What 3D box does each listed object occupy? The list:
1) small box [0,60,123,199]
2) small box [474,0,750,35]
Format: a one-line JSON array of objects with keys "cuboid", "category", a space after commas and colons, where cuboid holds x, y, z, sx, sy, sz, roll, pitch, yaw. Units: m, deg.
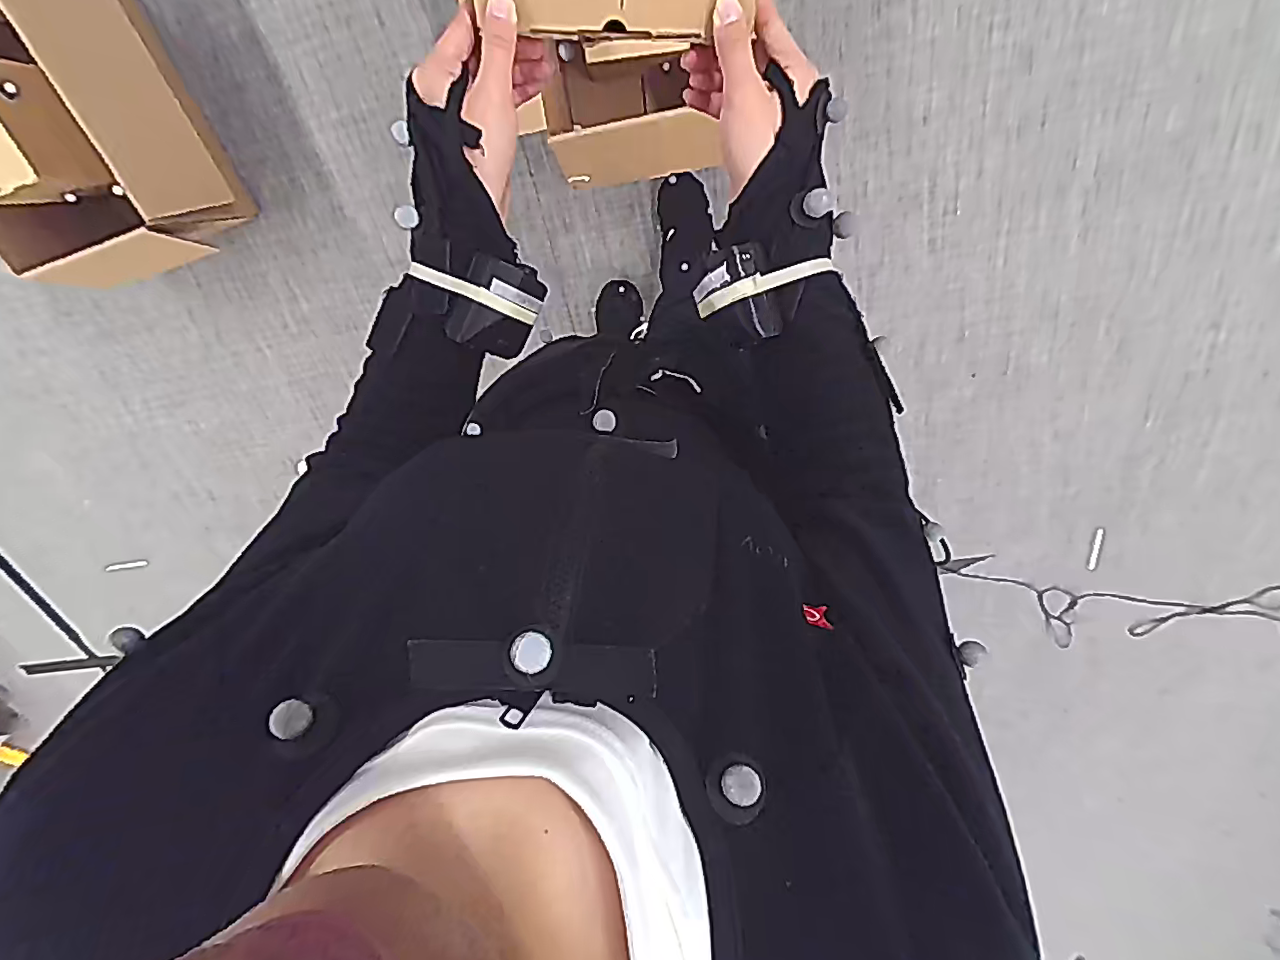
[{"cuboid": [-1.066, -0.589, 0.919, 0.168, 0.176, 0.179, -10, 118, 10], "category": "small box"}, {"cuboid": [-0.009, -0.387, 0.329, 0.168, 0.176, 0.179, 3, 128, 1], "category": "small box"}]
